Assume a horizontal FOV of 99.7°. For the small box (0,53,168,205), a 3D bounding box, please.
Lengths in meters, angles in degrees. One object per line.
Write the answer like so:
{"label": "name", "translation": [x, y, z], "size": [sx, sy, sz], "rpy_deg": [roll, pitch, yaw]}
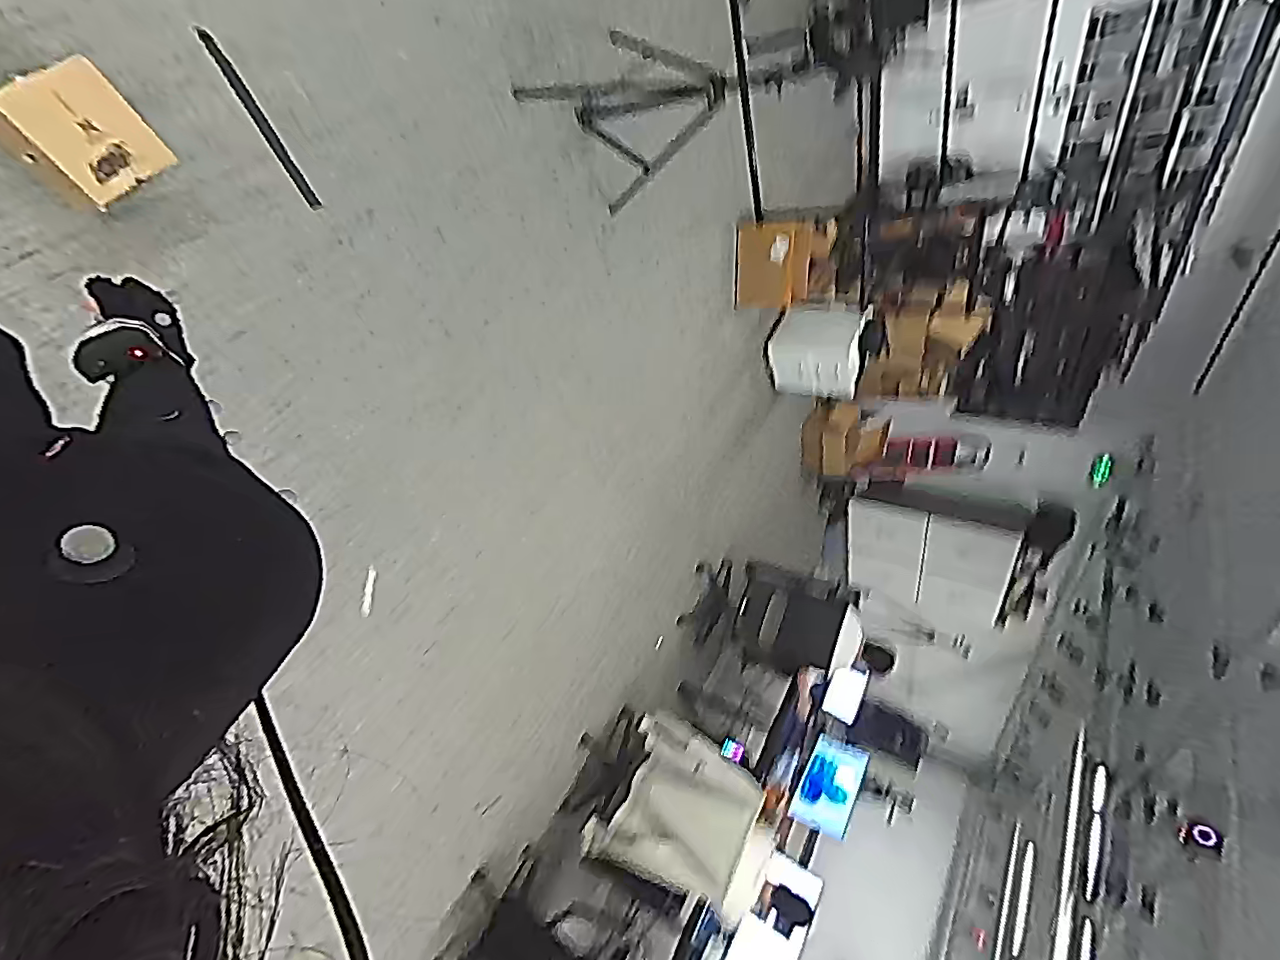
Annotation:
{"label": "small box", "translation": [-1.012, -0.609, 0.958], "size": [0.168, 0.176, 0.179], "rpy_deg": [-57, 142, -28]}
